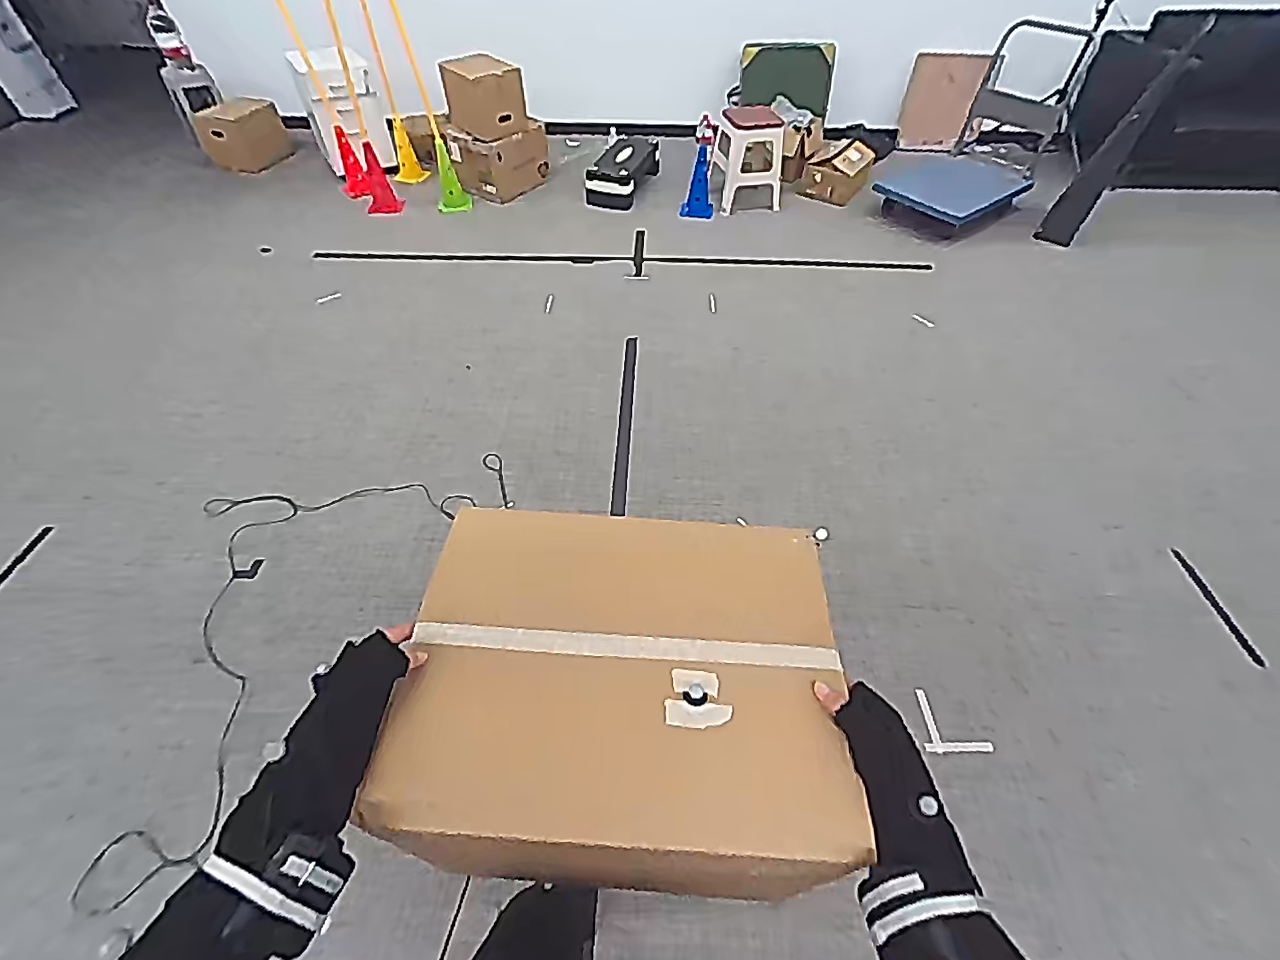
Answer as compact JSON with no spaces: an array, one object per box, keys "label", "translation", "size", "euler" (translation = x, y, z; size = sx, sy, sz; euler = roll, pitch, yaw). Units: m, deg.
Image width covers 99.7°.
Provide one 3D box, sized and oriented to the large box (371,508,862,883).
[{"label":"large box","translation":[-0.018,0.256,0.638],"size":[0.408,0.320,0.320],"euler":[4,48,1]}]
